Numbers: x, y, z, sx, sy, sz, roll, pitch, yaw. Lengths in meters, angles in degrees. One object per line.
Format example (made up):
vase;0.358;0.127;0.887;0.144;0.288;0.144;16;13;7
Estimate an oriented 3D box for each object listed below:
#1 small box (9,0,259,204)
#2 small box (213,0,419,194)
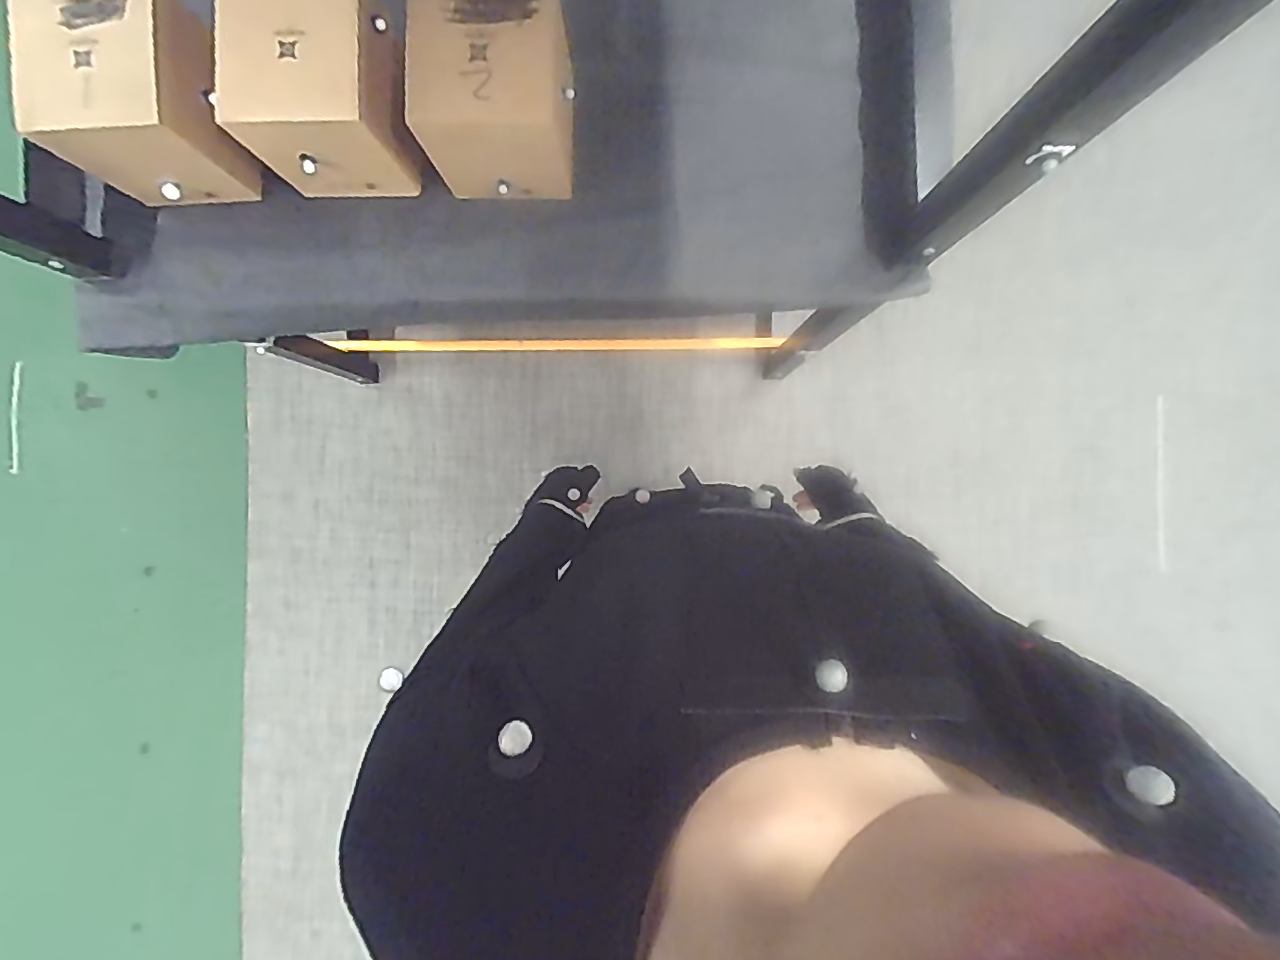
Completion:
small box;-0.620;-0.480;0.685;0.168;0.176;0.179;-3;90;1
small box;-0.393;-0.487;0.685;0.168;0.176;0.179;0;89;0
